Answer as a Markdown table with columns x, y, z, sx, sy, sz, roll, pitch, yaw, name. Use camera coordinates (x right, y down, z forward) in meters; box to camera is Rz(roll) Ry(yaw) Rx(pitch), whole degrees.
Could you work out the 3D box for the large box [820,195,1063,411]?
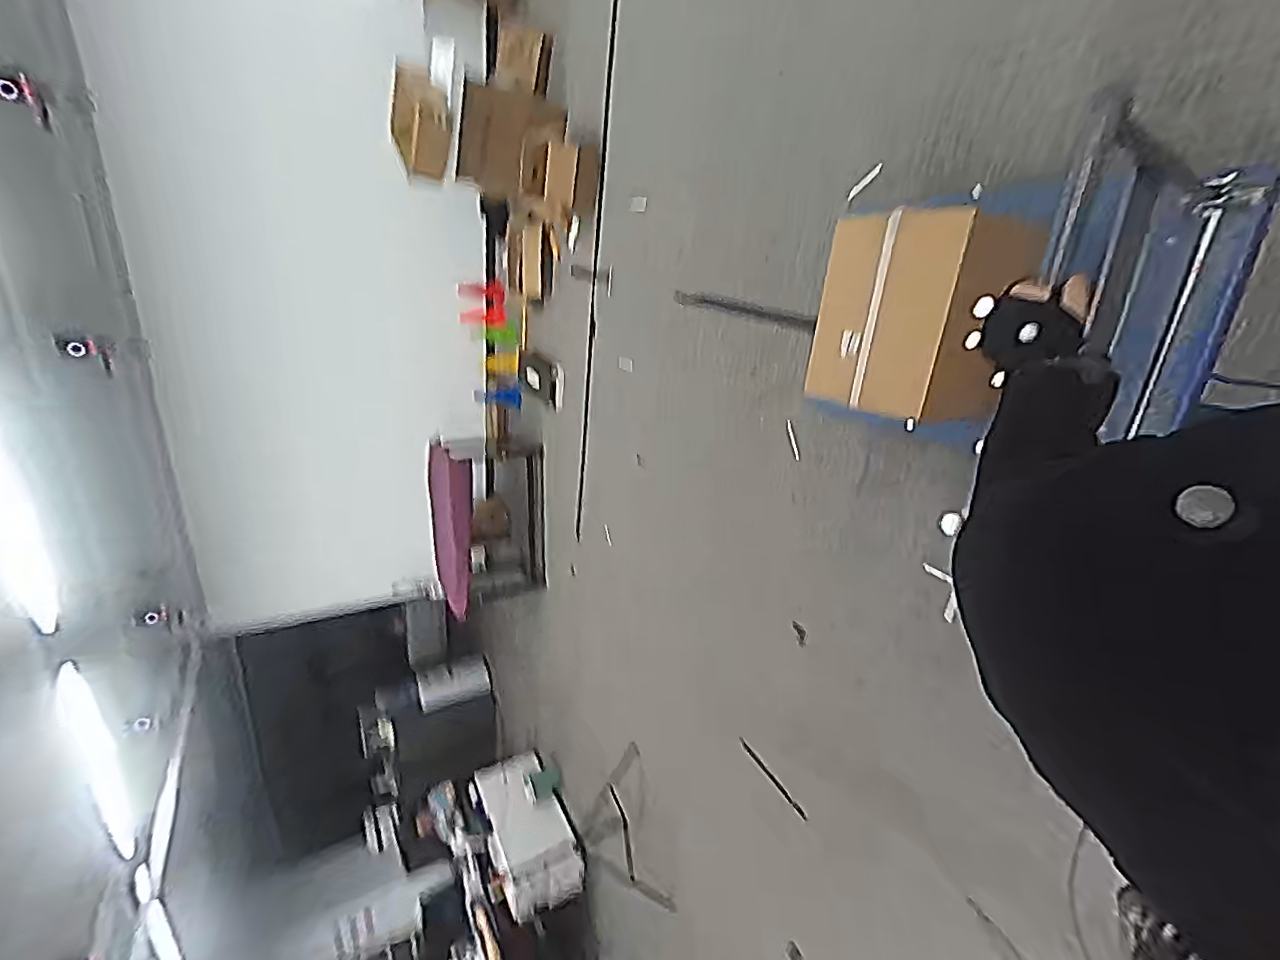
| x | y | z | sx | sy | sz | roll | pitch | yaw | name |
| --- | --- | --- | --- | --- | --- | --- | --- | --- | --- |
| 0.663 | -0.394 | 1.226 | 0.320 | 0.320 | 0.408 | 35 | 126 | 53 | large box |
